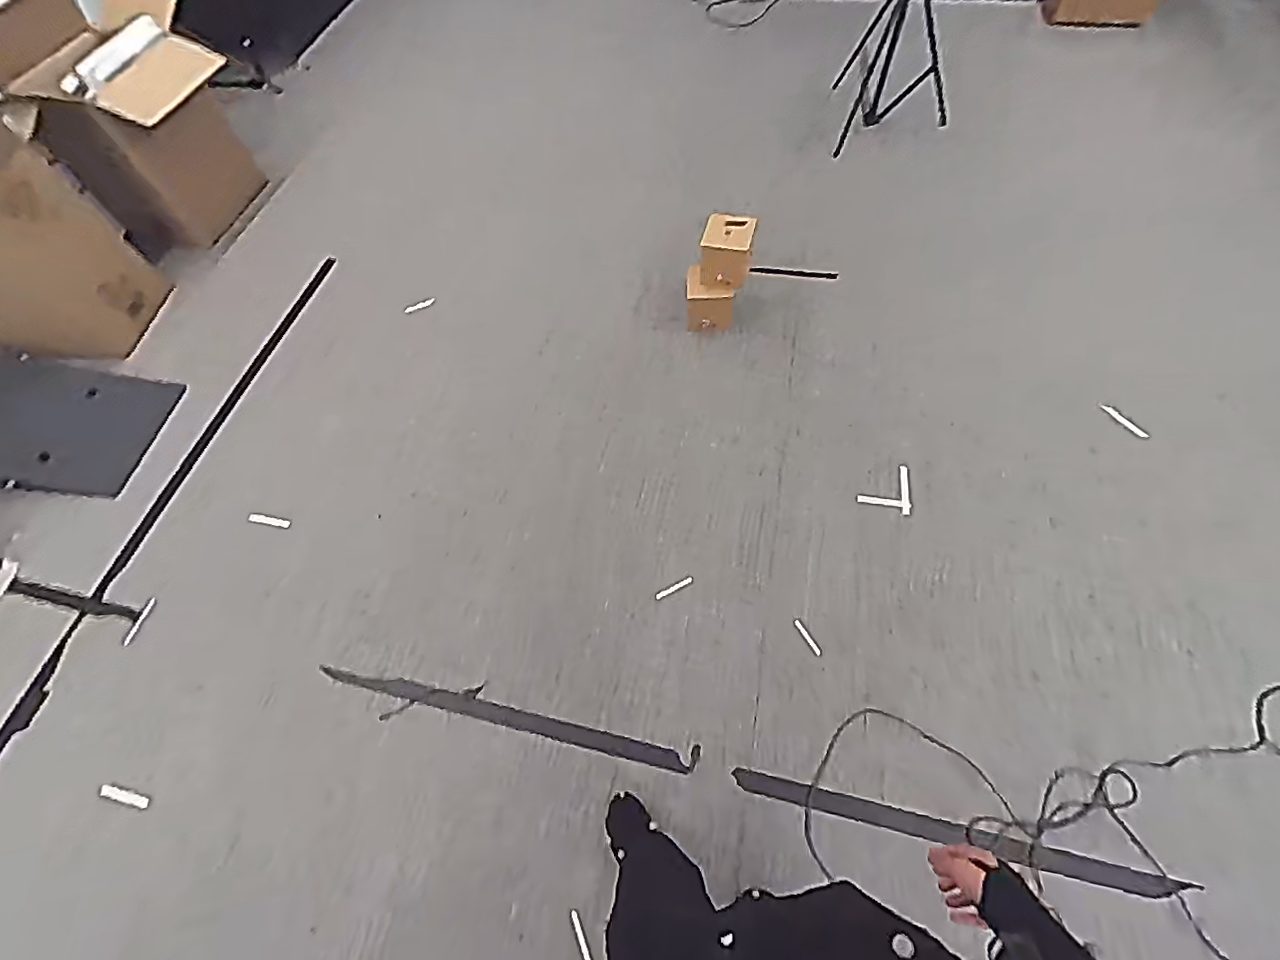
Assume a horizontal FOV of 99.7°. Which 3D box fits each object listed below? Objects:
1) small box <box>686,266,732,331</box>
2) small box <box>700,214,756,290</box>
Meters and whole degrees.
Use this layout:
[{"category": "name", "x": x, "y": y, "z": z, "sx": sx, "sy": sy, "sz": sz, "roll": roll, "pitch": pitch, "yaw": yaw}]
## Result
[{"category": "small box", "x": 0.256, "y": -0.686, "z": 2.044, "sx": 0.168, "sy": 0.176, "sz": 0.179, "roll": -1, "pitch": 61, "yaw": 5}, {"category": "small box", "x": 0.309, "y": -0.808, "z": 1.920, "sx": 0.168, "sy": 0.176, "sz": 0.179, "roll": 12, "pitch": 63, "yaw": 12}]
